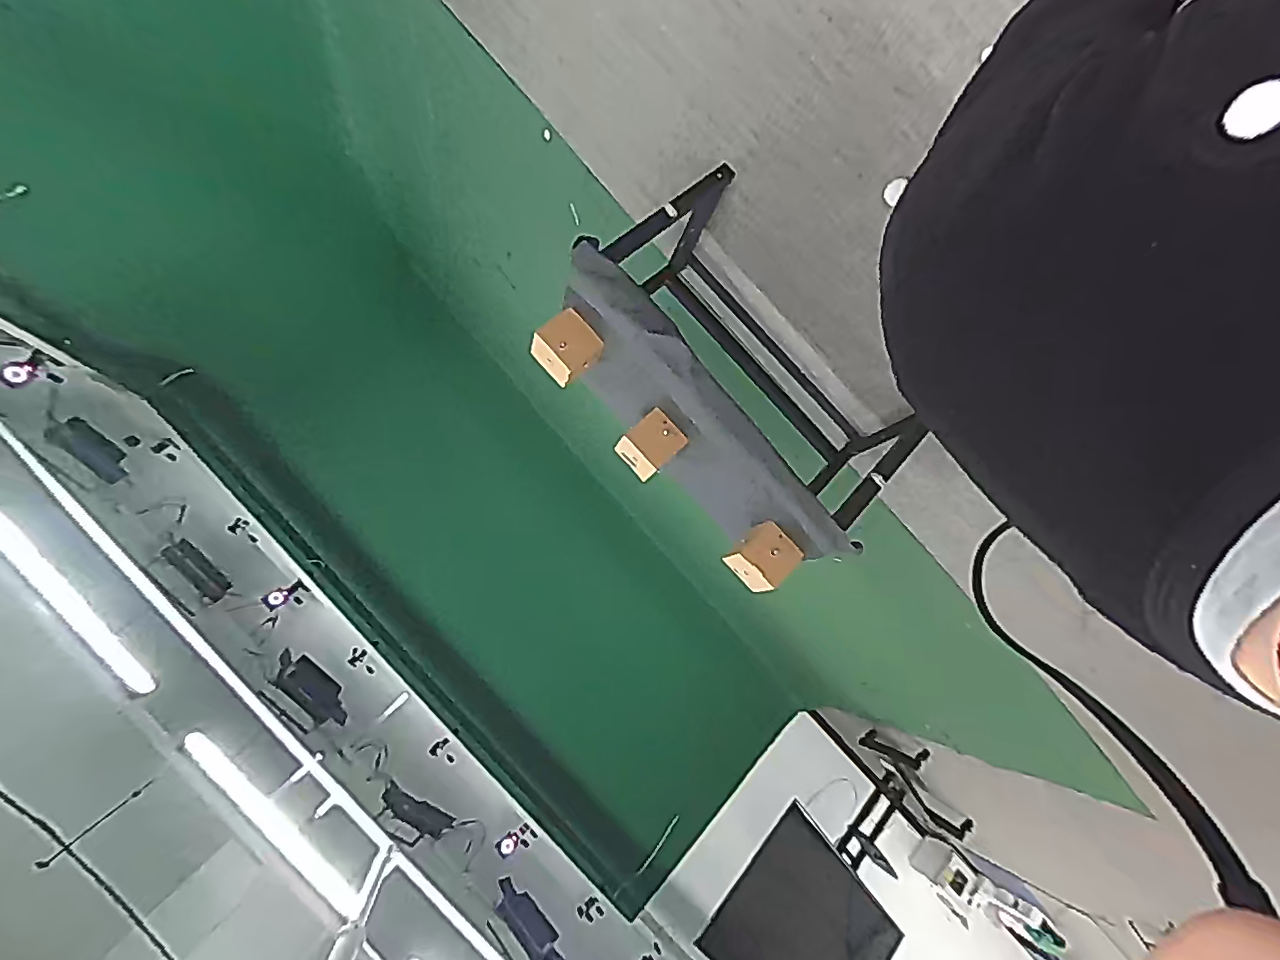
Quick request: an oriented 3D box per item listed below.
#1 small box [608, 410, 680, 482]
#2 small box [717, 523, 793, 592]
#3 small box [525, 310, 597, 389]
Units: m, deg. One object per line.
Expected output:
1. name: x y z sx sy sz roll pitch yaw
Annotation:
1. small box: 0.016 -0.120 1.934 0.168 0.176 0.179 47 159 -1
2. small box: 0.404 0.269 1.881 0.168 0.176 0.179 47 160 2
3. small box: -0.276 -0.456 1.892 0.179 0.176 0.168 49 159 -2
